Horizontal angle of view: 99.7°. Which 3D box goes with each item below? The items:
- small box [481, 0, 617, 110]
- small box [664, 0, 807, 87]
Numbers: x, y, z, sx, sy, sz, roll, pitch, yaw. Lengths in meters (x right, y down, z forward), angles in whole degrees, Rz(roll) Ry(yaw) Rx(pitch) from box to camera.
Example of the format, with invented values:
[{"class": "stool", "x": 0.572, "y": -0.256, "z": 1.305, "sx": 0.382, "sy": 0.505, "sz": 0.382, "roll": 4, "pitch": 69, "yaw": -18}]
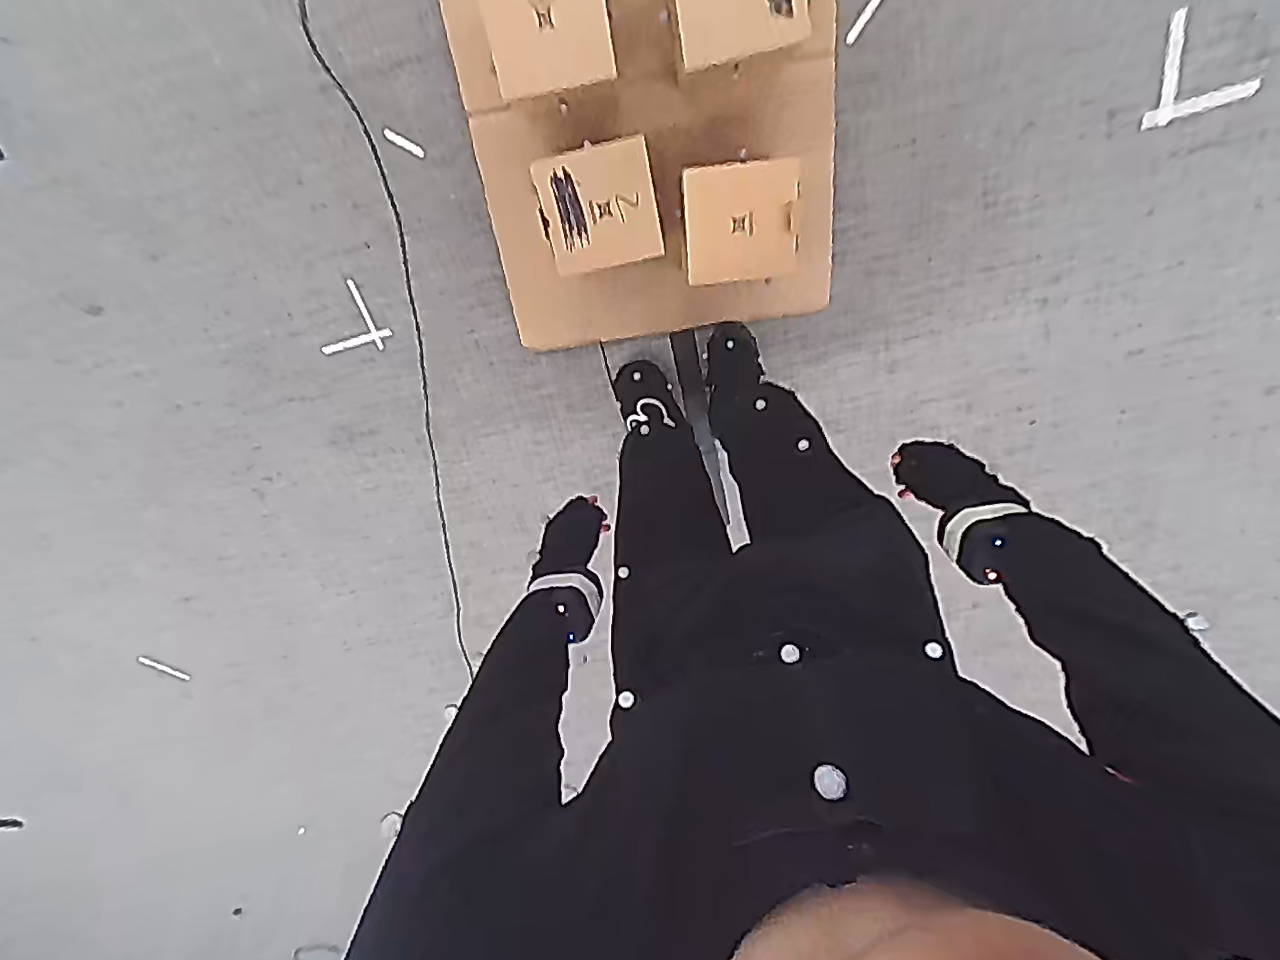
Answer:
[{"class": "small box", "x": -0.128, "y": -0.661, "z": 0.792, "sx": 0.168, "sy": 0.176, "sz": 0.179, "roll": -8, "pitch": 117, "yaw": 3}, {"class": "small box", "x": 0.129, "y": -0.689, "z": 0.776, "sx": 0.179, "sy": 0.176, "sz": 0.168, "roll": -9, "pitch": 118, "yaw": 5}]
